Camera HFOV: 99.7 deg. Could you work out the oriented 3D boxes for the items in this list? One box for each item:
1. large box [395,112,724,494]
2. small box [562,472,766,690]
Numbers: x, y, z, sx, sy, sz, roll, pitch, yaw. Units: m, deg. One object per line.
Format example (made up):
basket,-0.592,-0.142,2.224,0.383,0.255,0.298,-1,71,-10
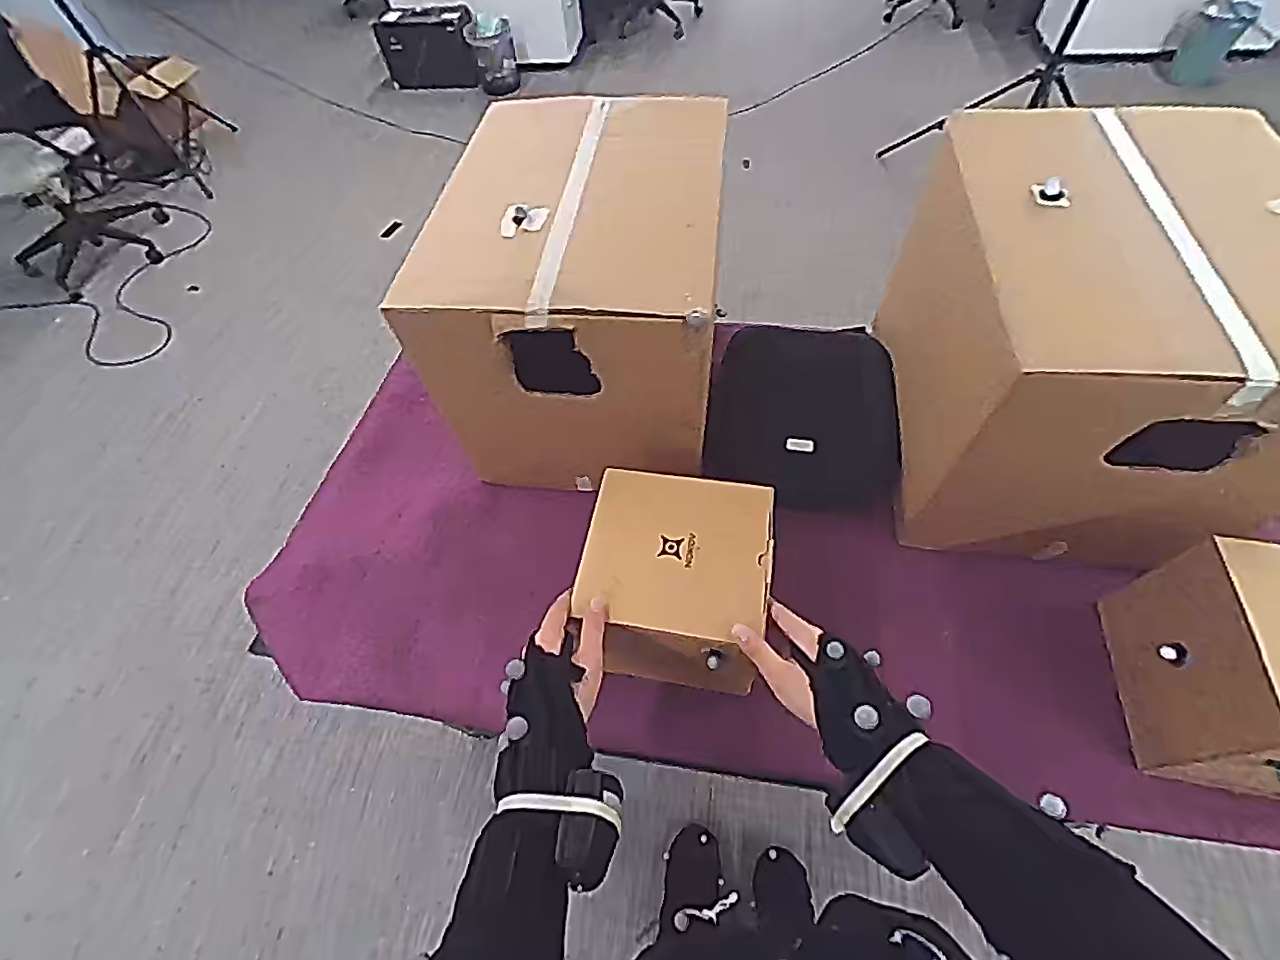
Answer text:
large box,-0.058,-0.226,0.727,0.320,0.320,0.408,3,59,7
small box,0.034,0.112,0.578,0.179,0.176,0.168,6,56,9
